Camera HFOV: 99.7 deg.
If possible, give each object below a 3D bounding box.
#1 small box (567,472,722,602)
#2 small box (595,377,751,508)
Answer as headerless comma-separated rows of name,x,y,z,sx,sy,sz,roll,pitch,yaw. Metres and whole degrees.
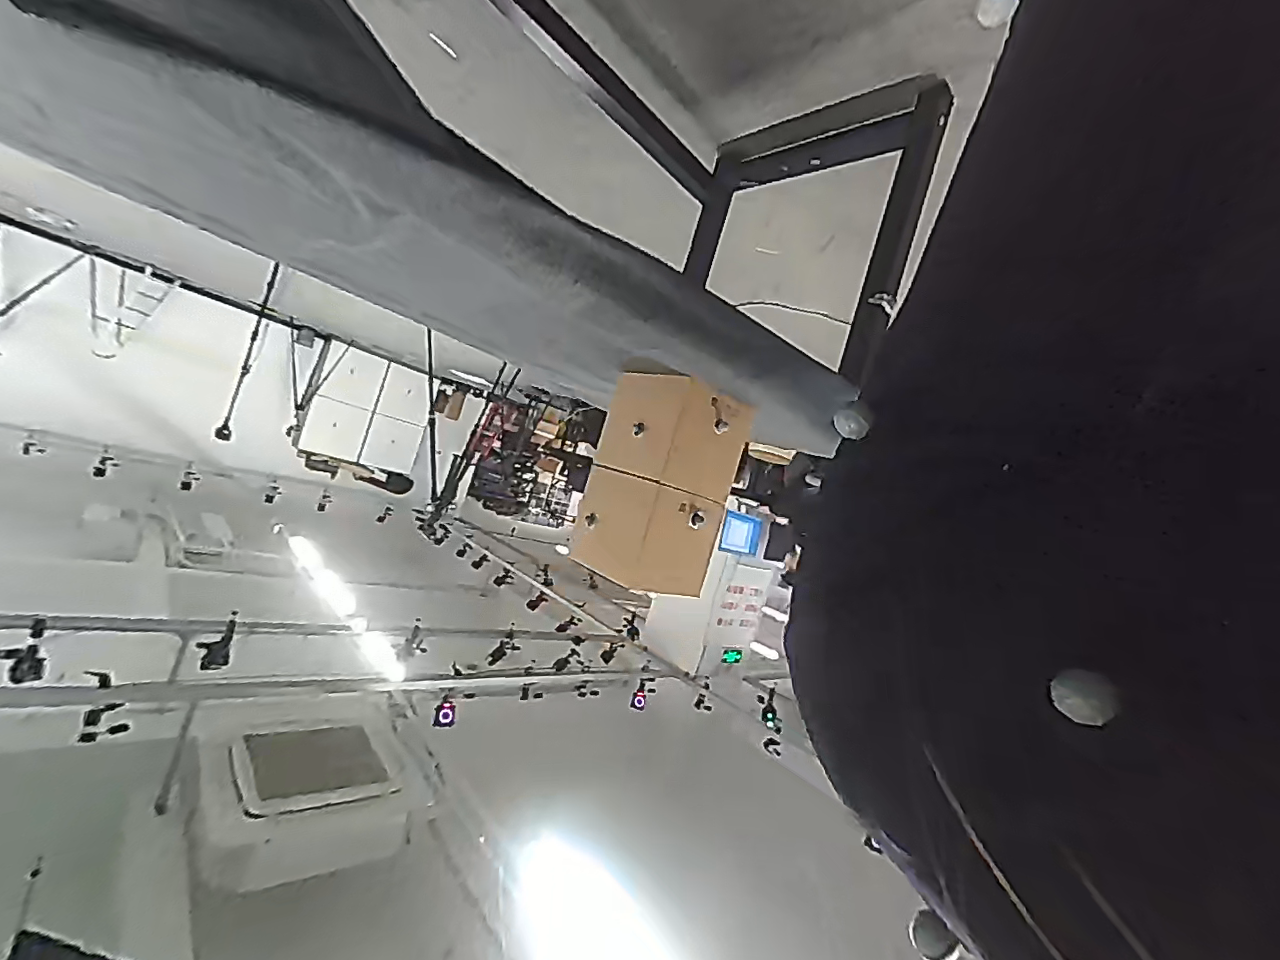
small box,0.010,0.089,0.900,0.168,0.176,0.179,17,178,-42
small box,0.057,-0.066,0.904,0.168,0.176,0.179,18,178,-42
